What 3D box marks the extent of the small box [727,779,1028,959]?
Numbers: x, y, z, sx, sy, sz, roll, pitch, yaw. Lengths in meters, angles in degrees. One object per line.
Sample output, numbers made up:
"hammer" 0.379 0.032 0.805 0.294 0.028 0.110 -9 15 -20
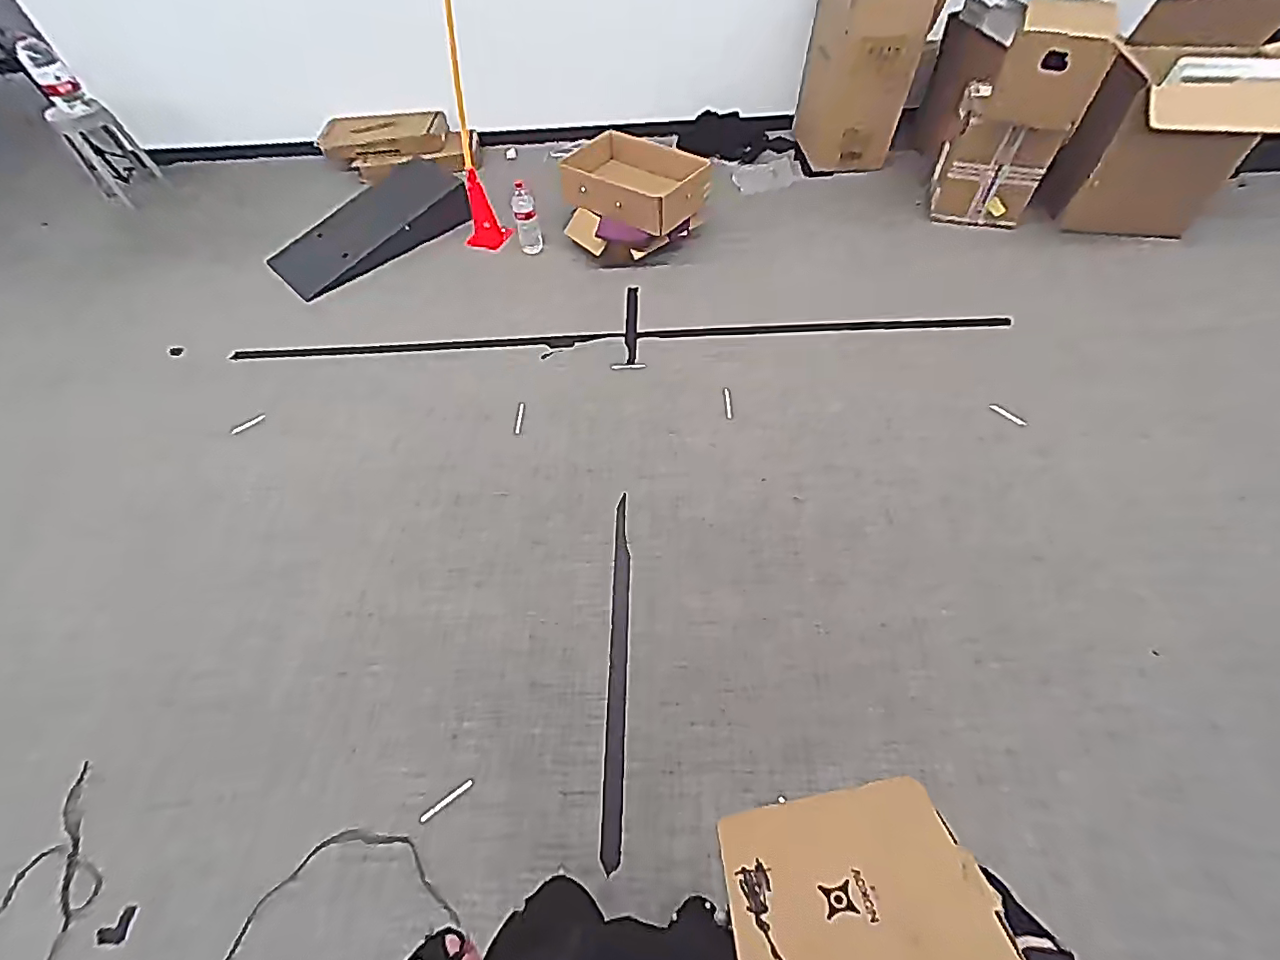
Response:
"small box" 0.179 0.375 0.417 0.179 0.176 0.168 -15 18 5
